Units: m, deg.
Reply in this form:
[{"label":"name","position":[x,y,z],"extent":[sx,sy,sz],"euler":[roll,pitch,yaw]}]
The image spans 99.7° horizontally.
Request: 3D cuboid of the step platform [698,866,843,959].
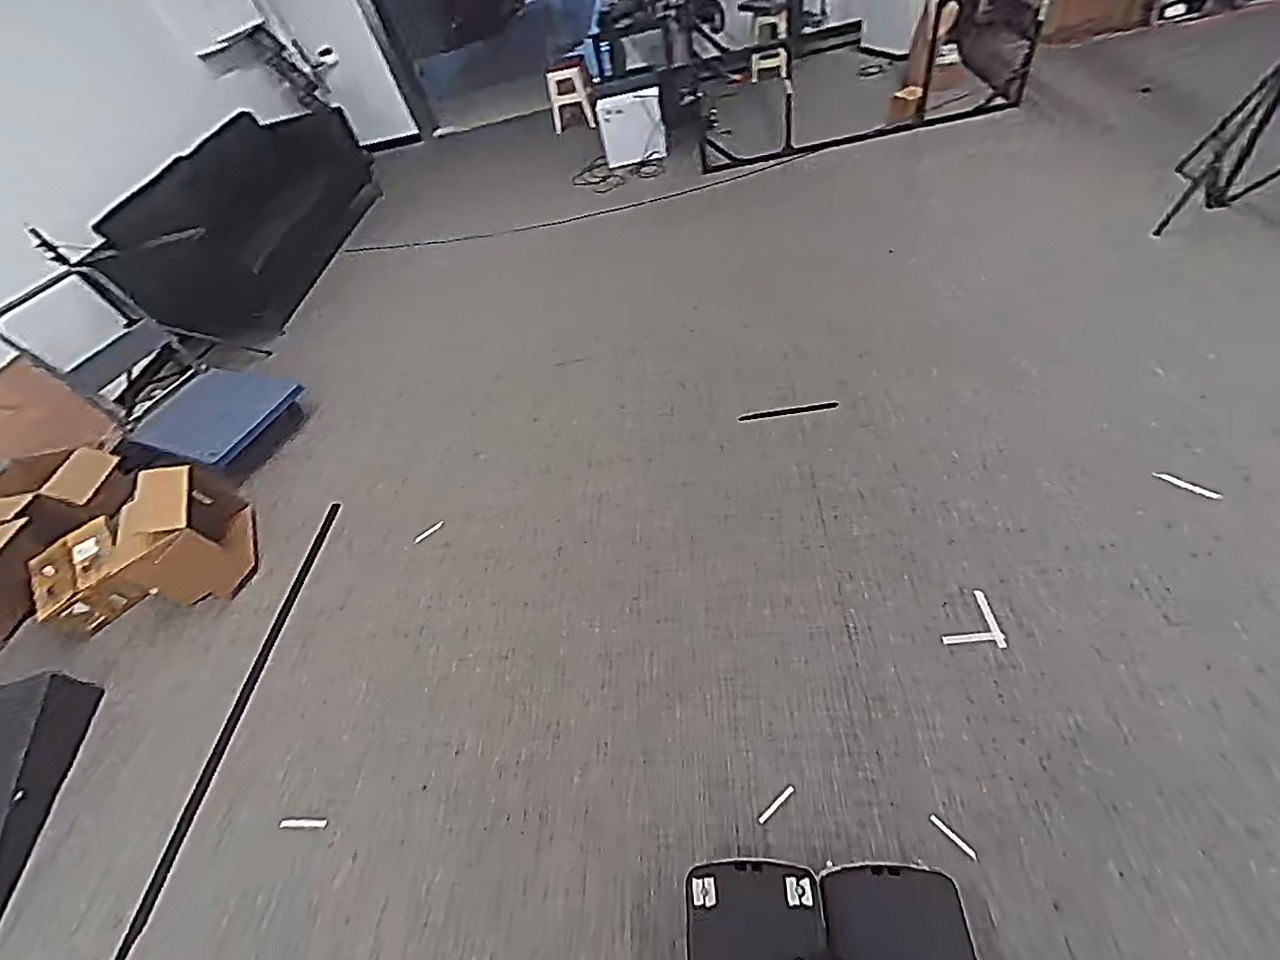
[{"label":"step platform","position":[0.268,1.134,1.001],"extent":[0.286,0.204,0.684],"euler":[-7,49,9]}]
